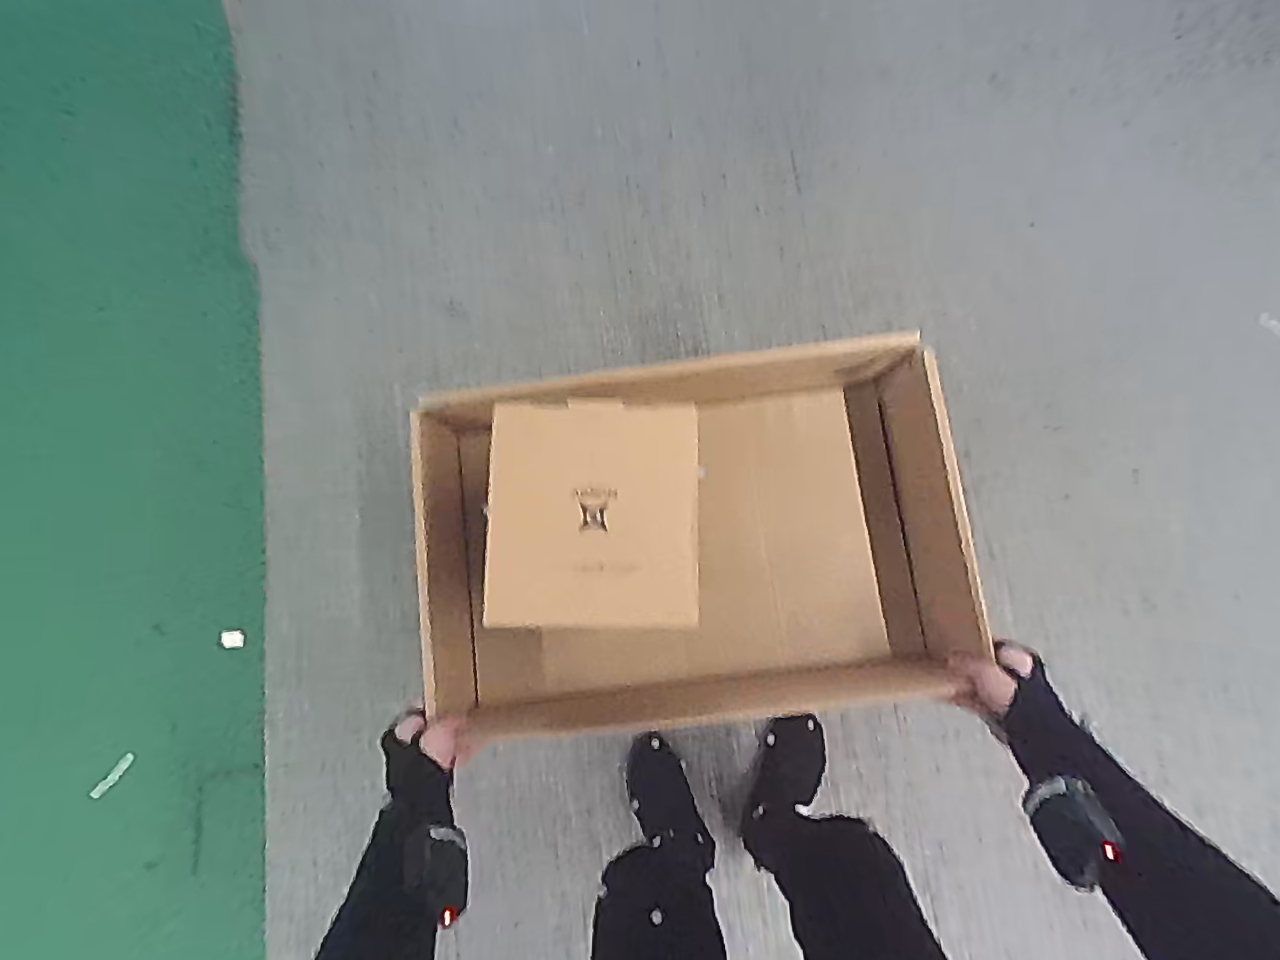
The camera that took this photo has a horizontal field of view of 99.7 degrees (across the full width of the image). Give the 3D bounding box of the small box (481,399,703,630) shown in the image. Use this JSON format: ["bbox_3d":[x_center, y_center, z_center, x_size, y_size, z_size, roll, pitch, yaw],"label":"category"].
[{"bbox_3d":[-0.035,0.036,0.491,0.168,0.176,0.179,1,82,0],"label":"small box"}]
